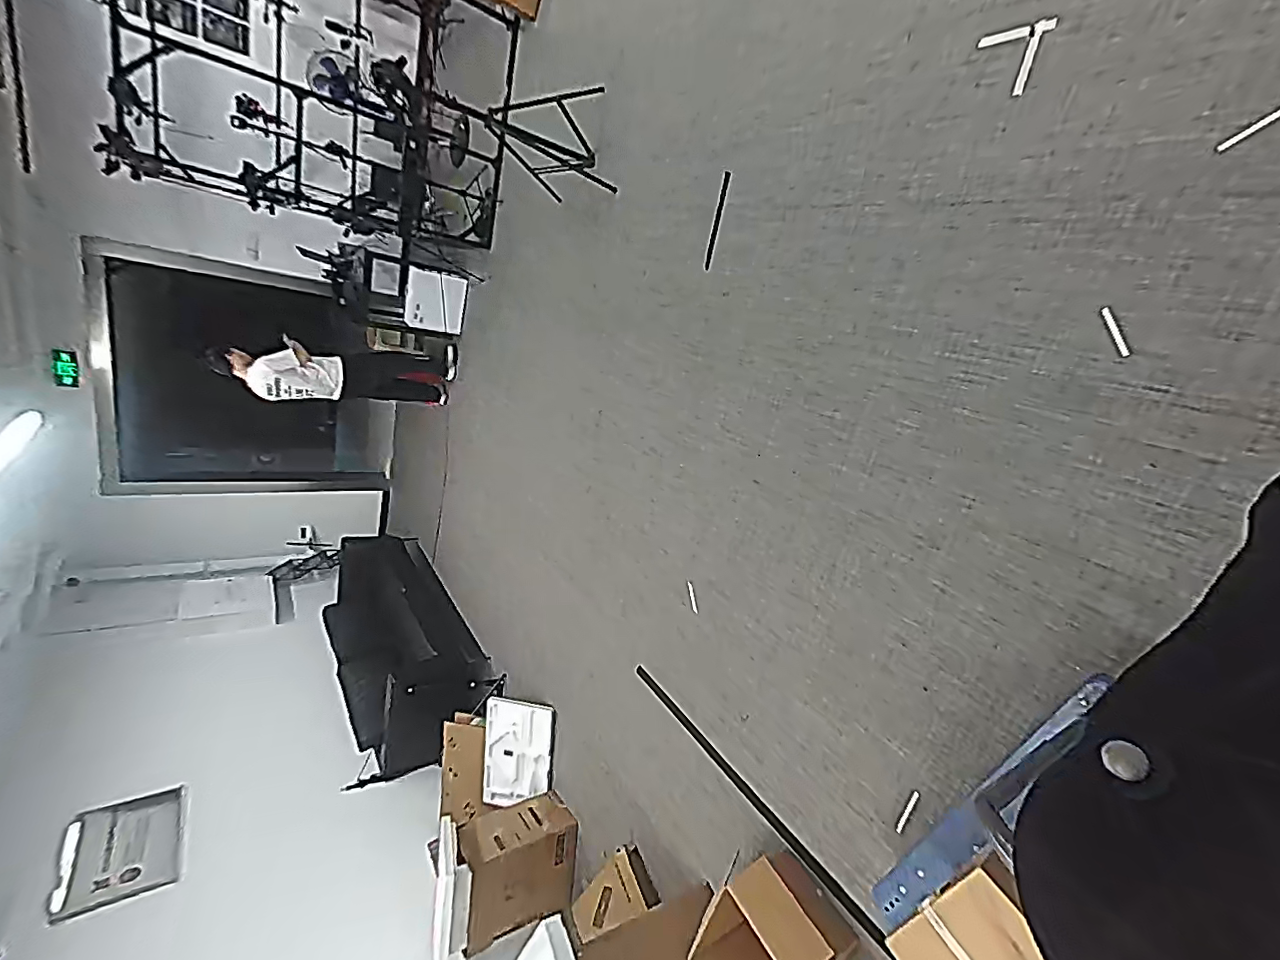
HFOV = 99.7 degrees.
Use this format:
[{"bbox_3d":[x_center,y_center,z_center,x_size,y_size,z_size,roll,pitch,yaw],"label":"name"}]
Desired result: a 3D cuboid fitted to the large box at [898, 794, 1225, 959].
[{"bbox_3d":[0.786,0.890,0.985,0.408,0.320,0.320,48,127,40],"label":"large box"}]
